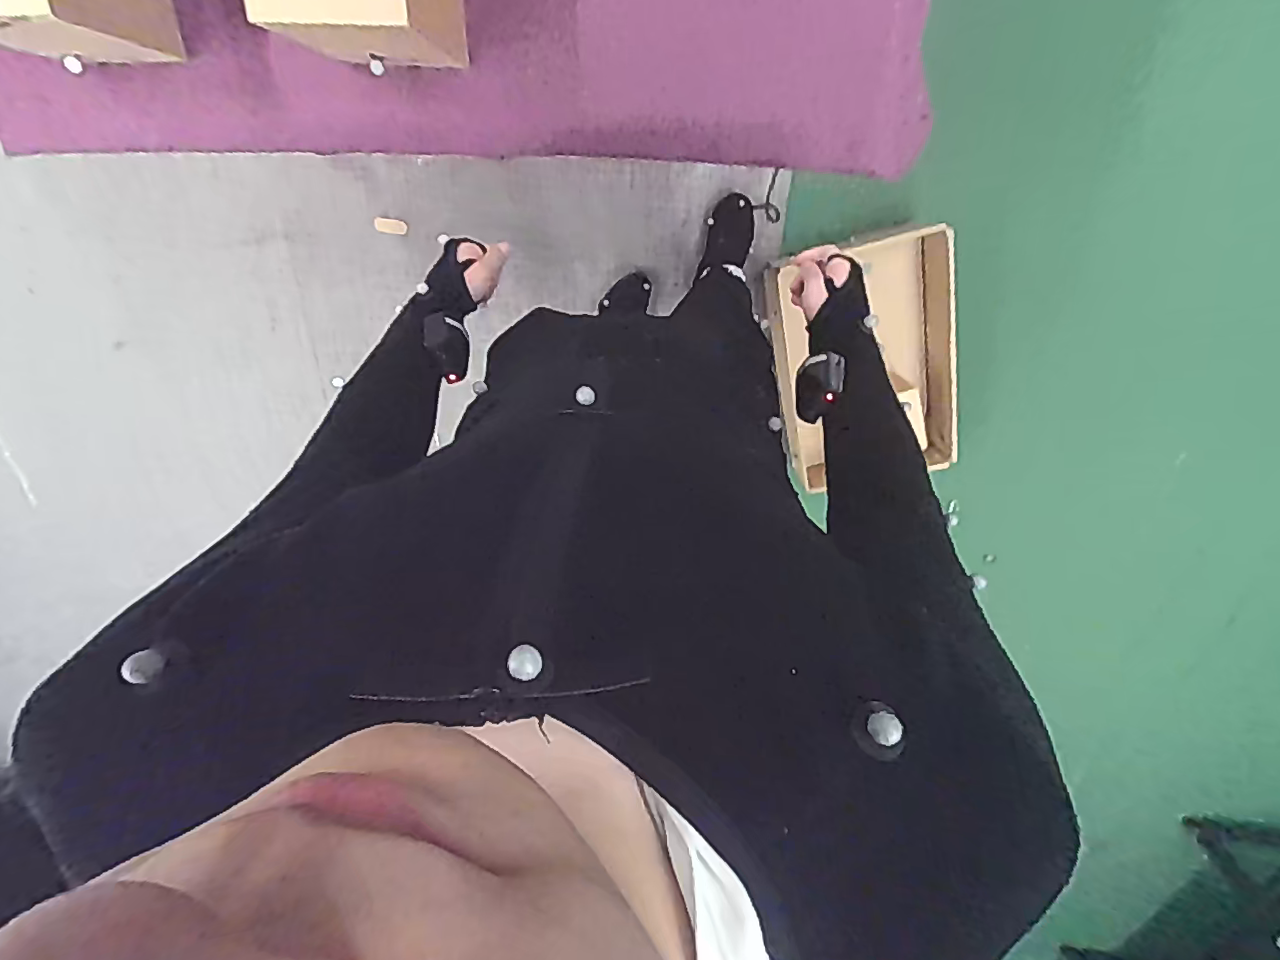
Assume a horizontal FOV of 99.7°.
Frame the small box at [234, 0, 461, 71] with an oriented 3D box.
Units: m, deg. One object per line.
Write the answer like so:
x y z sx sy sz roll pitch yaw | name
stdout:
-0.299 -0.554 0.559 0.168 0.176 0.179 4 116 3 | small box

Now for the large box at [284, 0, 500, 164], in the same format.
-0.506 -0.909 1.137 0.320 0.320 0.408 2 116 2 | large box

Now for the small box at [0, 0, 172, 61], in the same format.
-0.662 -0.570 0.575 0.168 0.176 0.179 2 115 3 | small box
